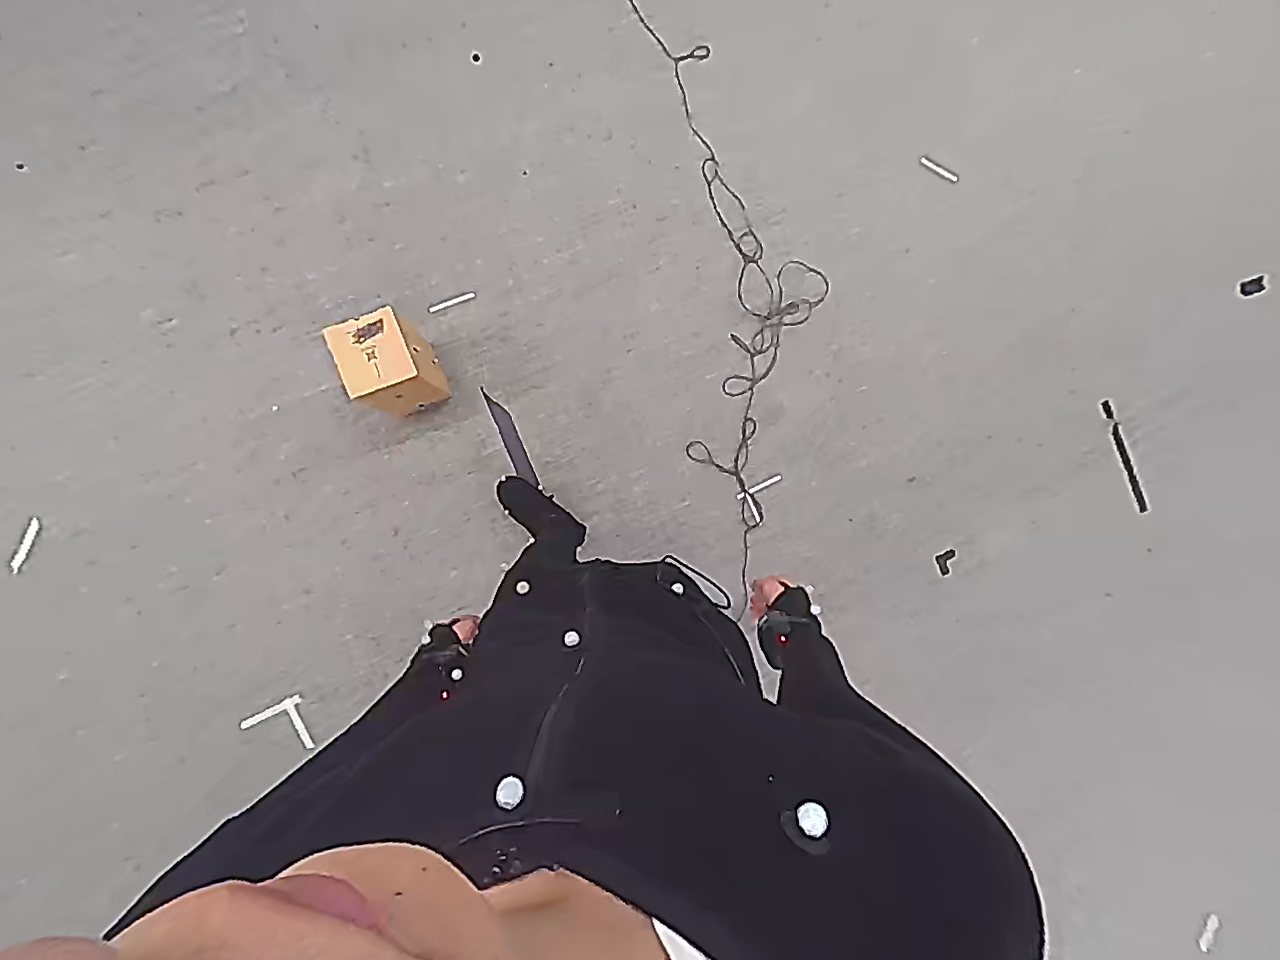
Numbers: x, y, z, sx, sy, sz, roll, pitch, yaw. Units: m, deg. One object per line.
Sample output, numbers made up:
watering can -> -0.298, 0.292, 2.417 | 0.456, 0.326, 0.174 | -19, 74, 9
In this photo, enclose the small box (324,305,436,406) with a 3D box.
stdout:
small box -> -0.629, -0.298, 1.328 | 0.168, 0.176, 0.179 | -22, 92, -5
